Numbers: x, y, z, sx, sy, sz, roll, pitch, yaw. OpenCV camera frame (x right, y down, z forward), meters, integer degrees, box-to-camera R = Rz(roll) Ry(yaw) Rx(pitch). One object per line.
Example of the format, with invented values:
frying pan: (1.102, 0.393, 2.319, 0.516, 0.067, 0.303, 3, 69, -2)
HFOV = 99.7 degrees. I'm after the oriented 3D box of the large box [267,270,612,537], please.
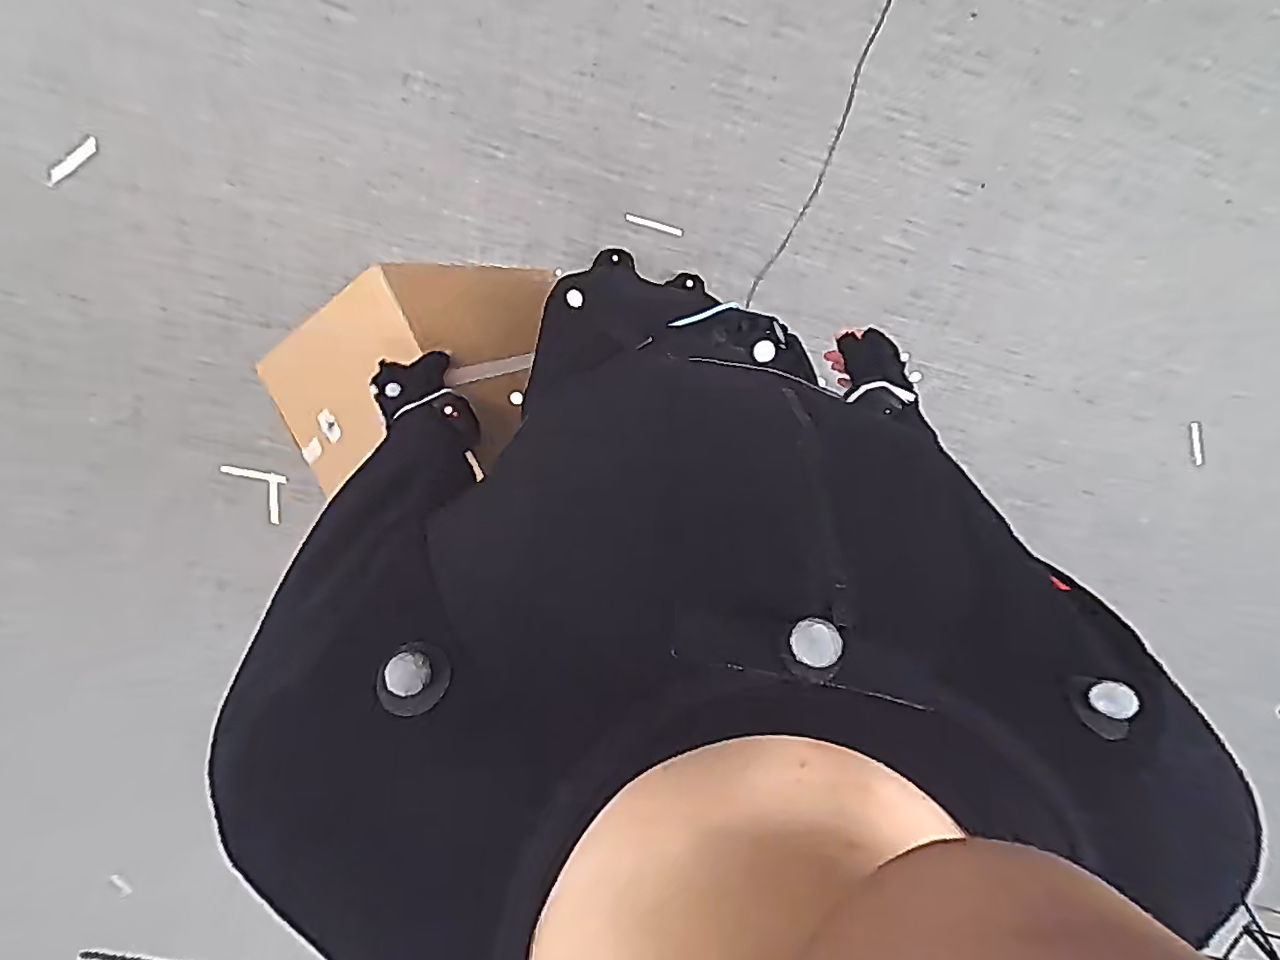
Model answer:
large box: (-0.309, -0.144, 0.936, 0.320, 0.408, 0.320, -17, 101, 26)
